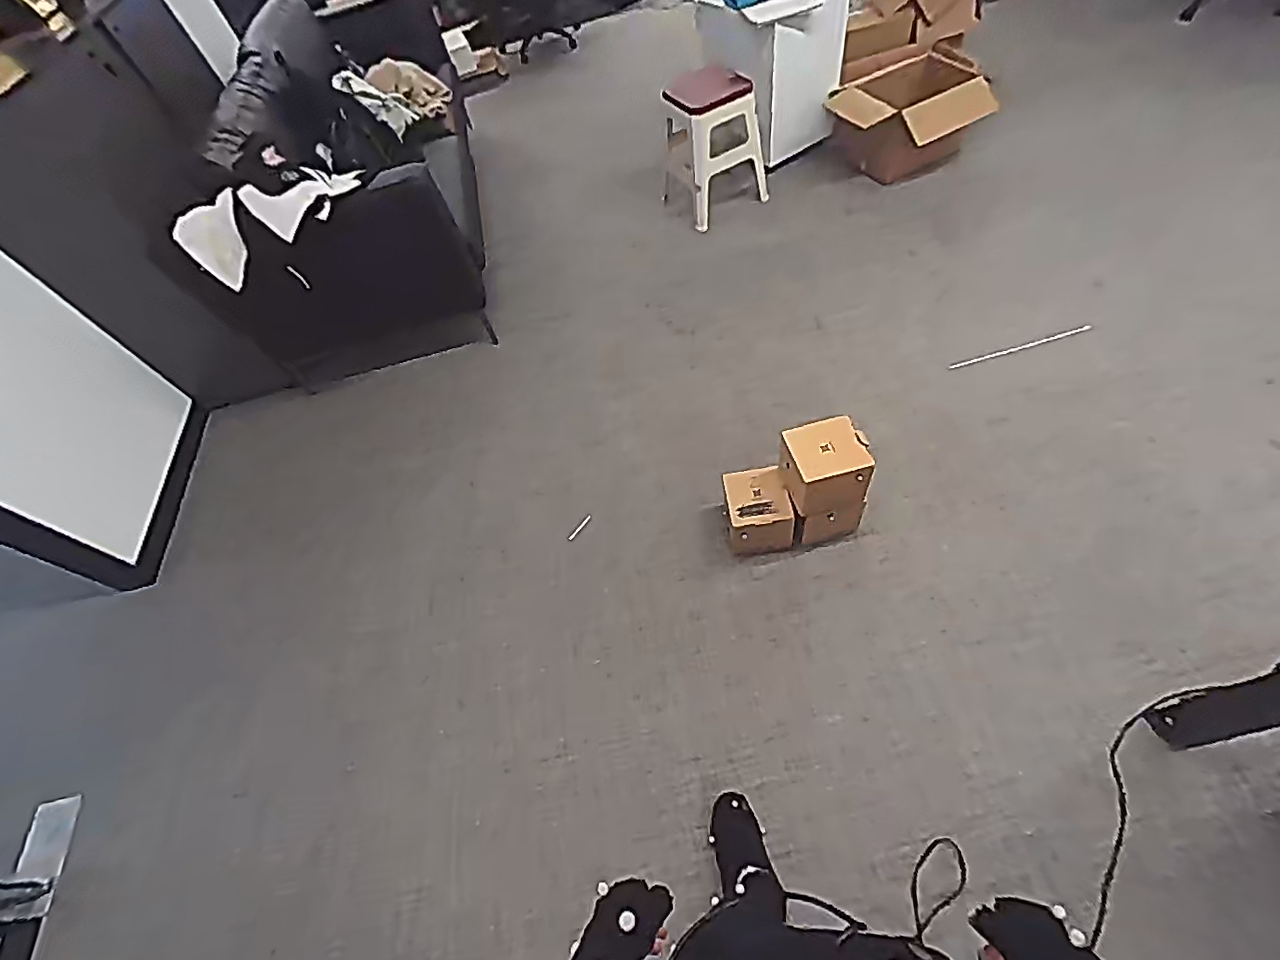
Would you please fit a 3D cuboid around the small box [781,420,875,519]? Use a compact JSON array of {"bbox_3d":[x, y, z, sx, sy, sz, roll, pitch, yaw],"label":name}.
[{"bbox_3d":[0.474,-0.021,1.391,0.179,0.176,0.168,-15,55,1],"label":"small box"}]
